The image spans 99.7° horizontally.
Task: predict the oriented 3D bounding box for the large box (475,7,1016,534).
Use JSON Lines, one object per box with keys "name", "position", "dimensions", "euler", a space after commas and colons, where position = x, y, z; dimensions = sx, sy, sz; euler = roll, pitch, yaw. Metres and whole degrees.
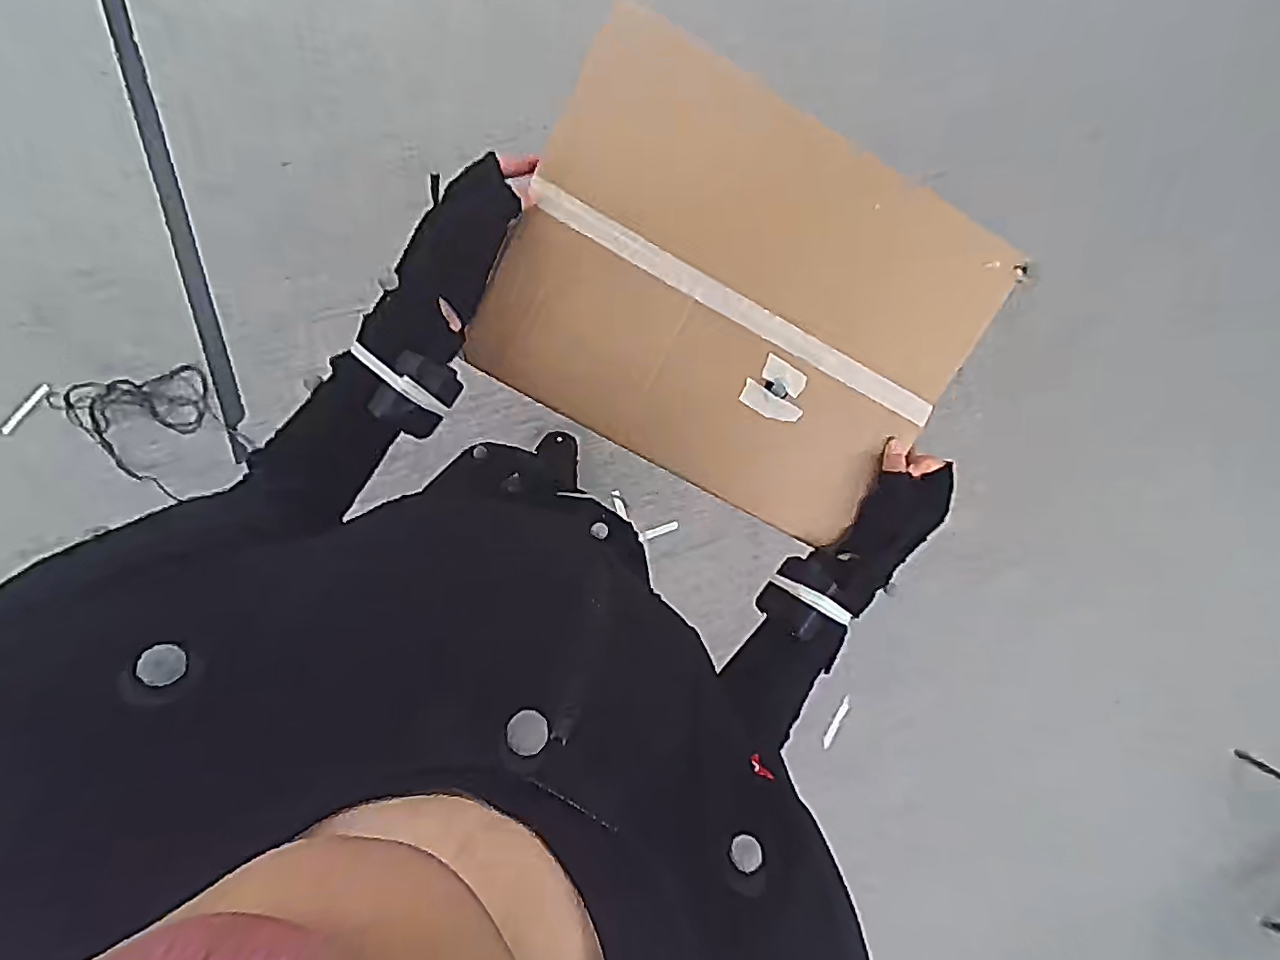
{"name": "large box", "position": [0.088, -0.198, 0.630], "dimensions": [0.408, 0.320, 0.320], "euler": [28, 103, -8]}
